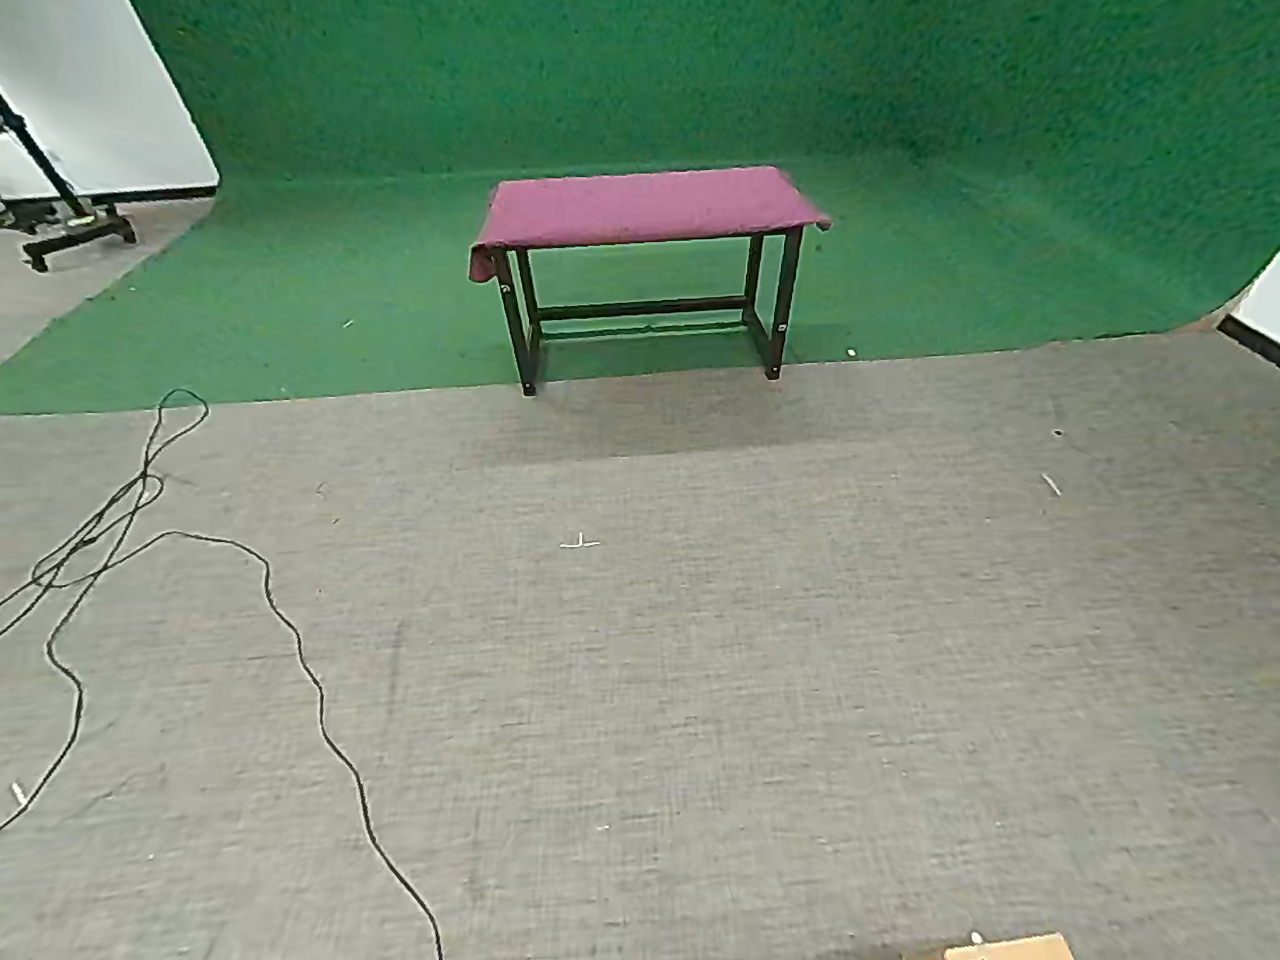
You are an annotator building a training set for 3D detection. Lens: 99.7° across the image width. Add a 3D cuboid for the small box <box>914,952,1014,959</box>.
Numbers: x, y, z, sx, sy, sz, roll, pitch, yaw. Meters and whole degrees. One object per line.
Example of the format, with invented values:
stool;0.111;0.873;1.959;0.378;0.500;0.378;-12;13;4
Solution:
small box;0.522;0.880;0.862;0.168;0.176;0.179;-3;45;-1
